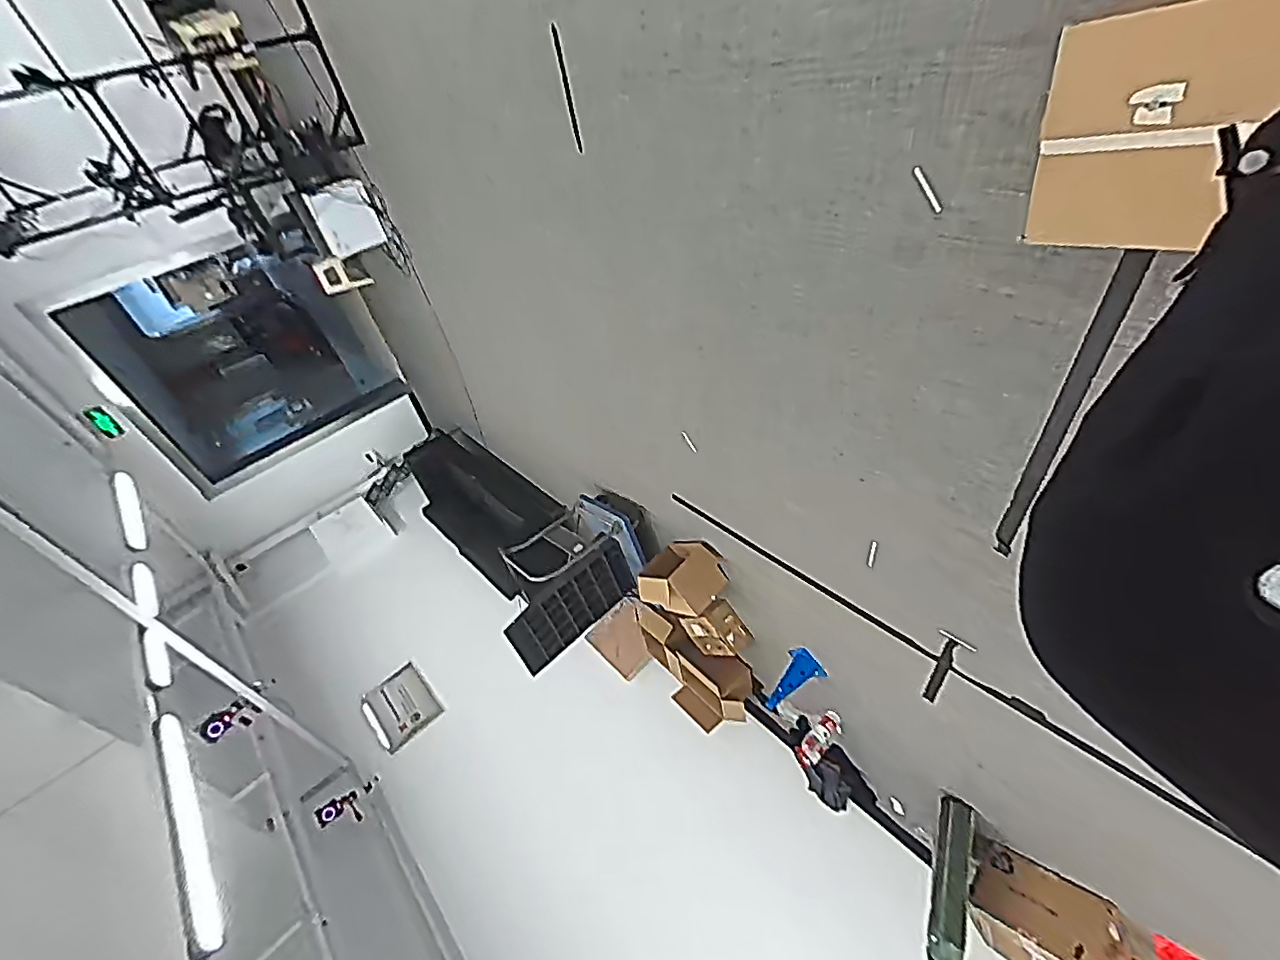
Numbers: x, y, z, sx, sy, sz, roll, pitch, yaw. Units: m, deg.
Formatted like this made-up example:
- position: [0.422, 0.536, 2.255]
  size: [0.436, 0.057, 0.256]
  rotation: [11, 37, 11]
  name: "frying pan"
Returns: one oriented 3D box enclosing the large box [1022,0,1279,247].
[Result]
- position: [0.887, -0.564, 0.805]
  size: [0.408, 0.320, 0.320]
  rotation: [29, 145, 44]
  name: "large box"
